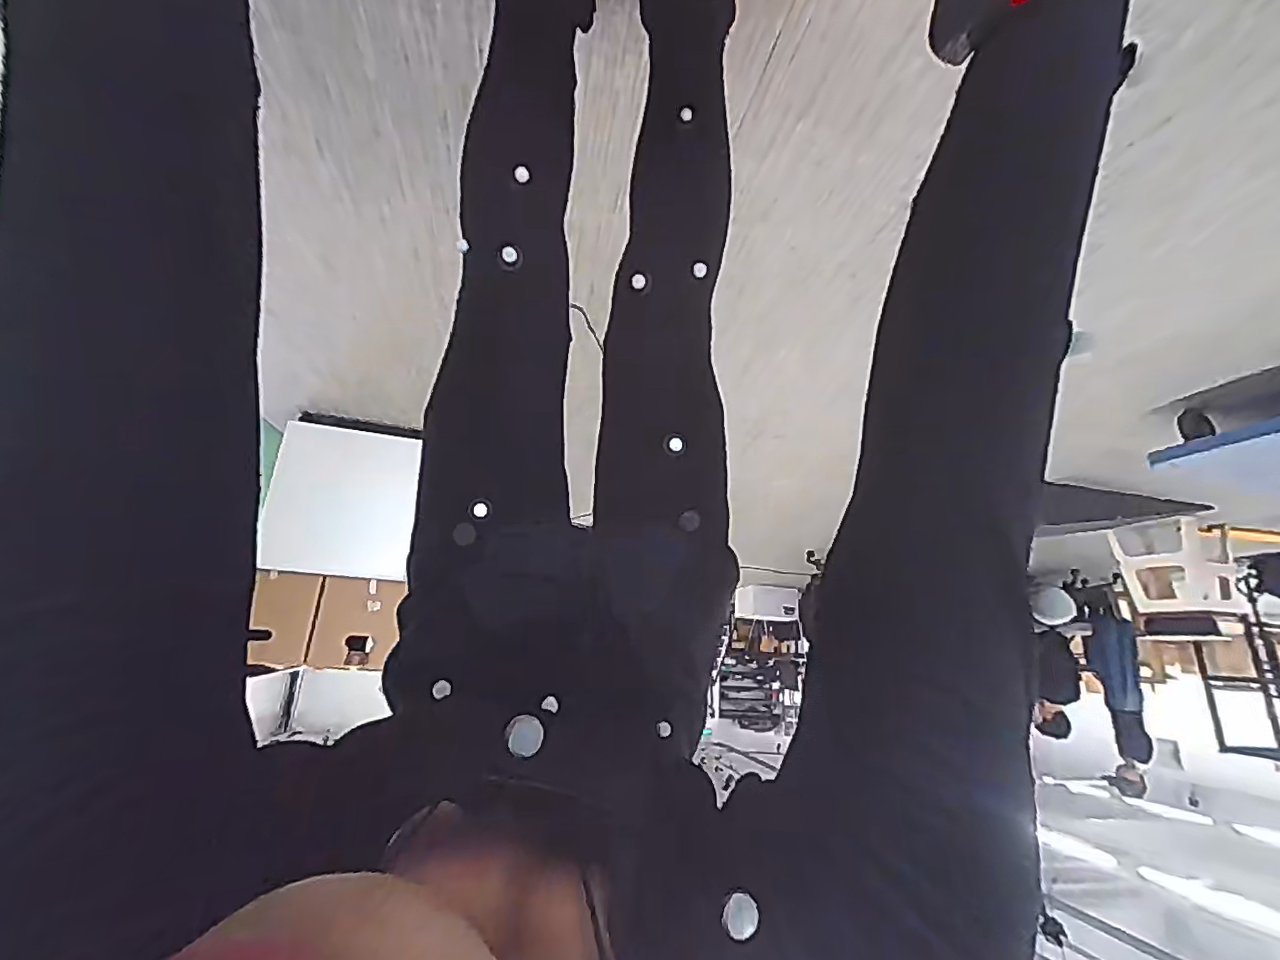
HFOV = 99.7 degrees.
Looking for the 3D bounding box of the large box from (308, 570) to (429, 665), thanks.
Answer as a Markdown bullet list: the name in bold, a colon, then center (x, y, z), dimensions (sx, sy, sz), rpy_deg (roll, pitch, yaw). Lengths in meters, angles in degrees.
- **large box**: center (-1.016, 0.532, 2.080), dimensions (0.320, 0.320, 0.408), rpy_deg (9, 163, -14)
